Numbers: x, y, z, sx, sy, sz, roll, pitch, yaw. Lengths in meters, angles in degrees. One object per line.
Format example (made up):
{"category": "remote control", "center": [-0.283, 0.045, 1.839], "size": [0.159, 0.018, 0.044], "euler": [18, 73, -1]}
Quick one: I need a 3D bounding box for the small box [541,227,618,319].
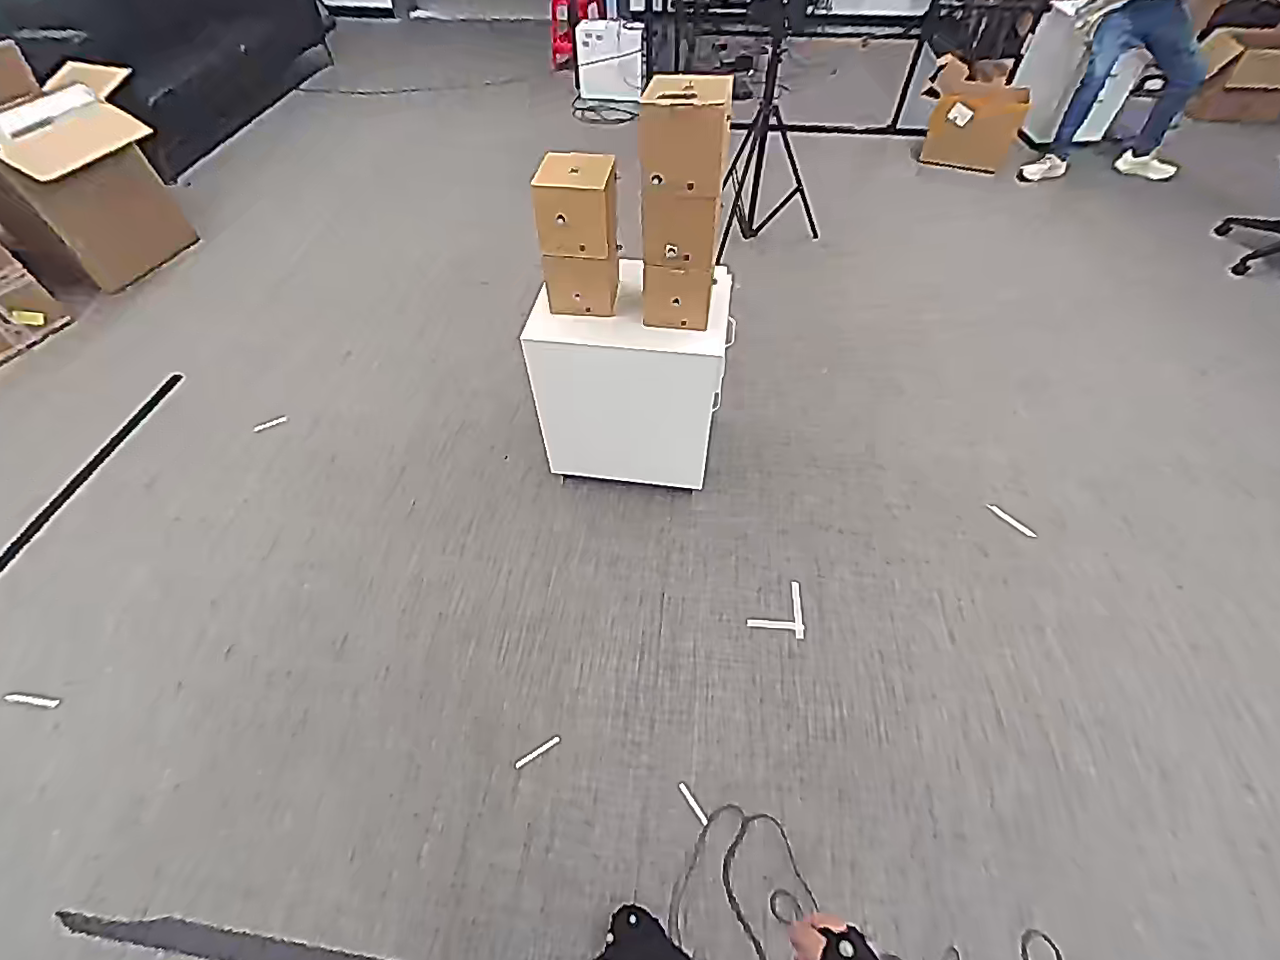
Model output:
{"category": "small box", "center": [-0.150, -0.548, 1.413], "size": [0.168, 0.176, 0.179], "euler": [4, 53, 4]}

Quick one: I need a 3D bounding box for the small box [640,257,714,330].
{"category": "small box", "center": [0.099, -0.503, 1.375], "size": [0.168, 0.176, 0.179], "euler": [6, 54, 7]}

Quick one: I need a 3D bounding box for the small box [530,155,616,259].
{"category": "small box", "center": [-0.149, -0.644, 1.281], "size": [0.168, 0.176, 0.179], "euler": [5, 52, 4]}

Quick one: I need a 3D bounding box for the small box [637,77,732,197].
{"category": "small box", "center": [0.094, -0.708, 1.120], "size": [0.168, 0.176, 0.179], "euler": [7, 51, 8]}

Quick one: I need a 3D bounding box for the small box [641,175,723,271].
{"category": "small box", "center": [0.097, -0.610, 1.252], "size": [0.168, 0.176, 0.179], "euler": [6, 53, 7]}
